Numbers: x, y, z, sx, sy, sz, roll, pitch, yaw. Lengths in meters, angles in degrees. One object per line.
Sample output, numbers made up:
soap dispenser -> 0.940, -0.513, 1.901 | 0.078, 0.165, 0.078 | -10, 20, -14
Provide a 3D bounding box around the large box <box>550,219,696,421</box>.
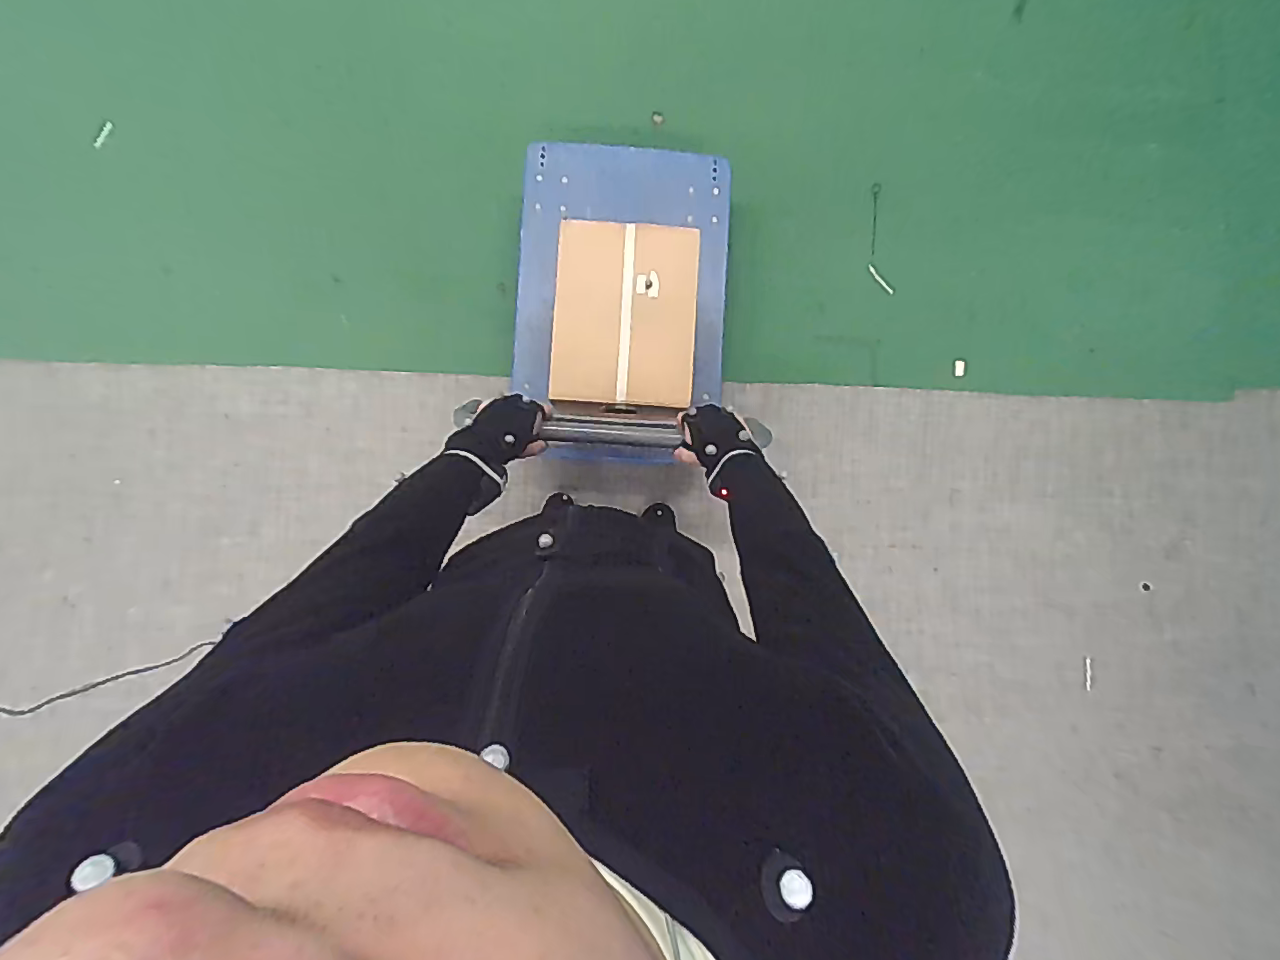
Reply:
large box -> -0.040, -0.369, 1.342 | 0.320, 0.320, 0.408 | 3, 88, -3
